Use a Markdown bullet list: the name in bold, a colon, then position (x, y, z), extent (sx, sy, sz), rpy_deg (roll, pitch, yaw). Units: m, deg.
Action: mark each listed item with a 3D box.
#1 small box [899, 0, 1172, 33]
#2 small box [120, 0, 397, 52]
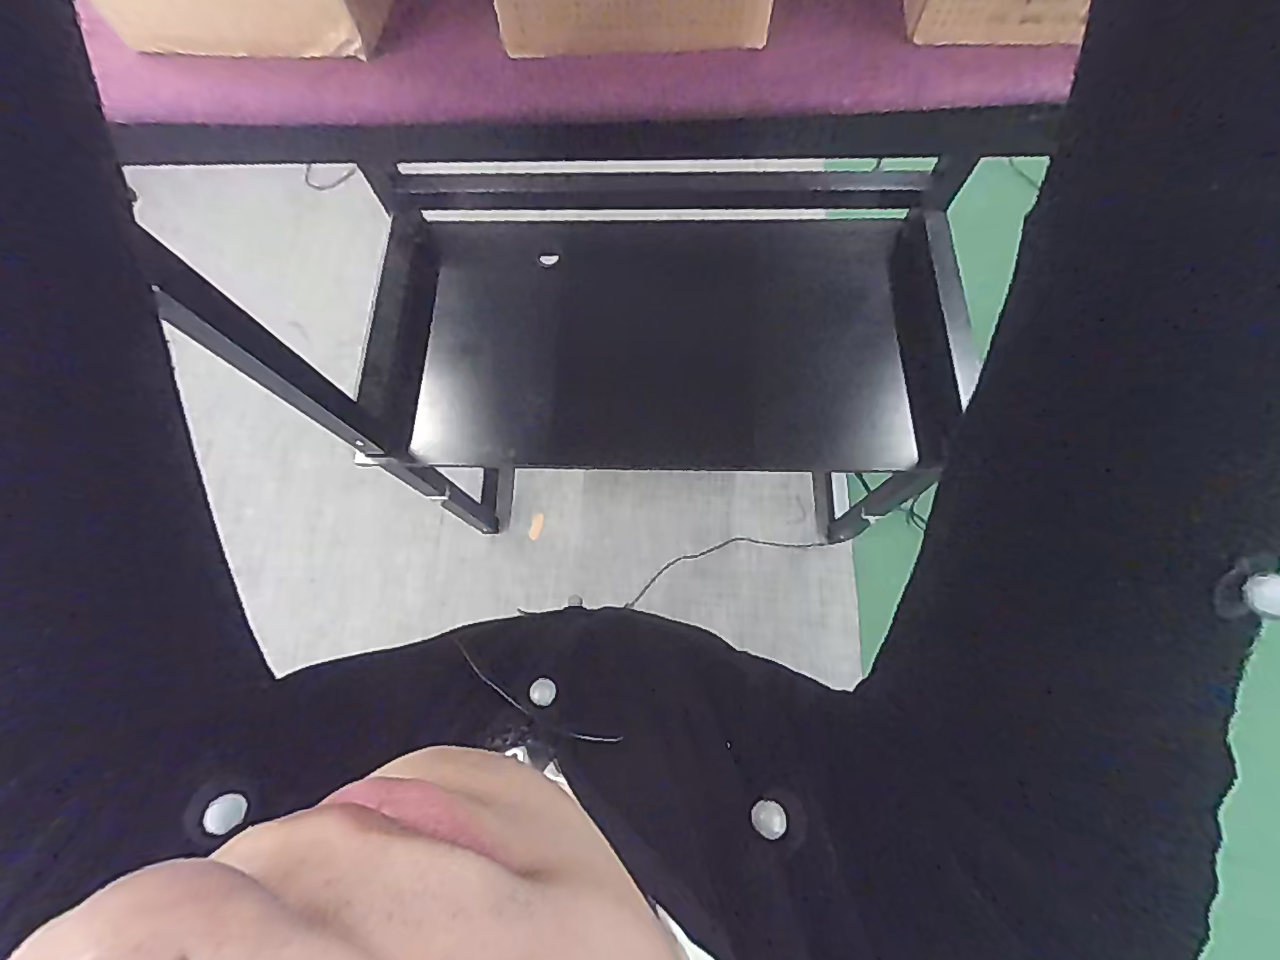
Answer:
- **small box**: position (0.255, -0.395, 0.305), extent (0.168, 0.176, 0.179), rpy_deg (2, 71, 3)
- **small box**: position (-0.261, -0.403, 0.329), extent (0.179, 0.176, 0.168), rpy_deg (5, 71, 3)
